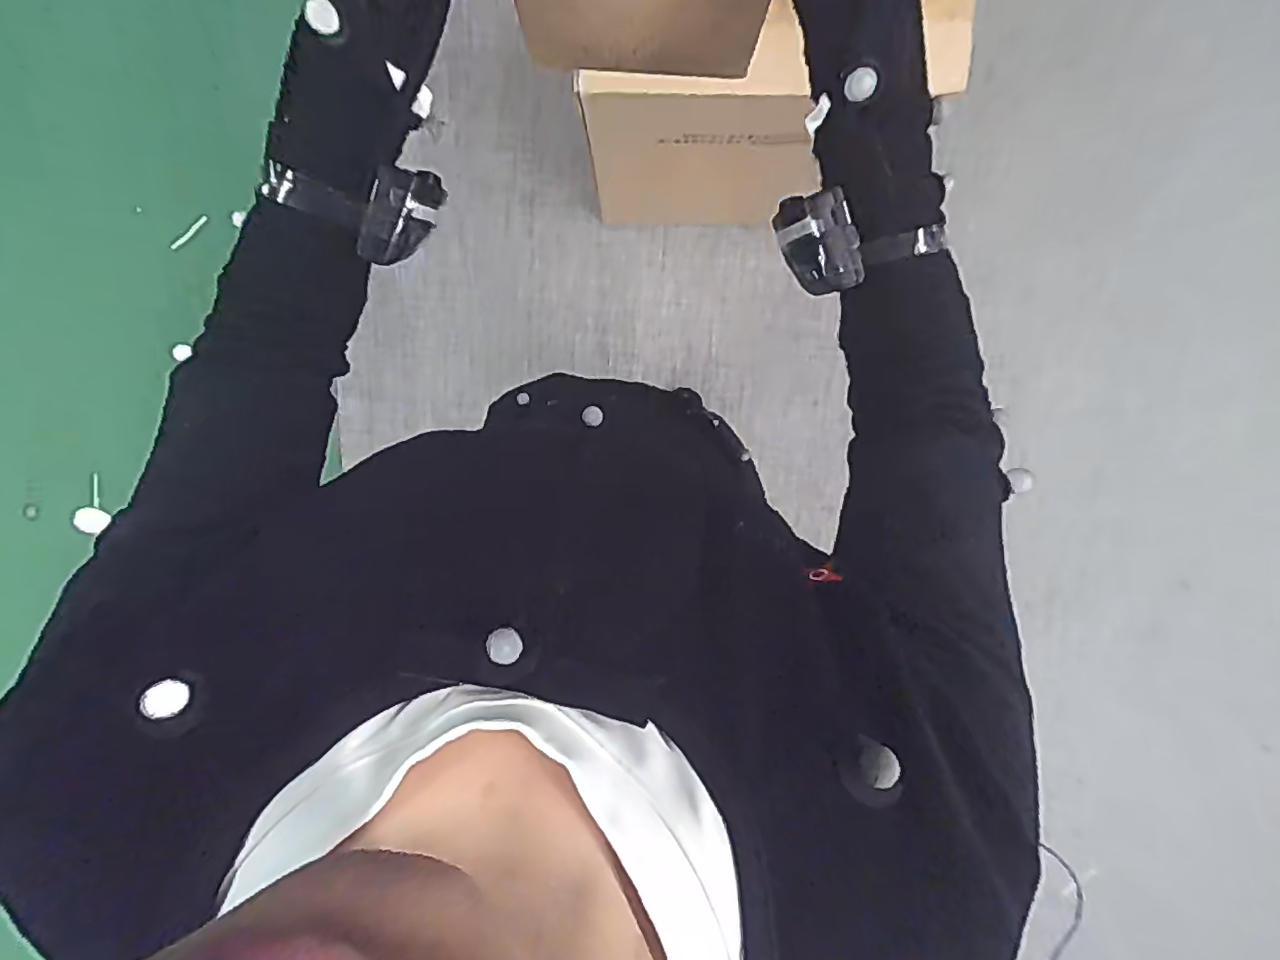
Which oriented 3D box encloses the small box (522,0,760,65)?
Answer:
[{"bbox_3d":[0.004,-0.409,0.346,0.179,0.176,0.168,2,94,-2],"label":"small box"}]
